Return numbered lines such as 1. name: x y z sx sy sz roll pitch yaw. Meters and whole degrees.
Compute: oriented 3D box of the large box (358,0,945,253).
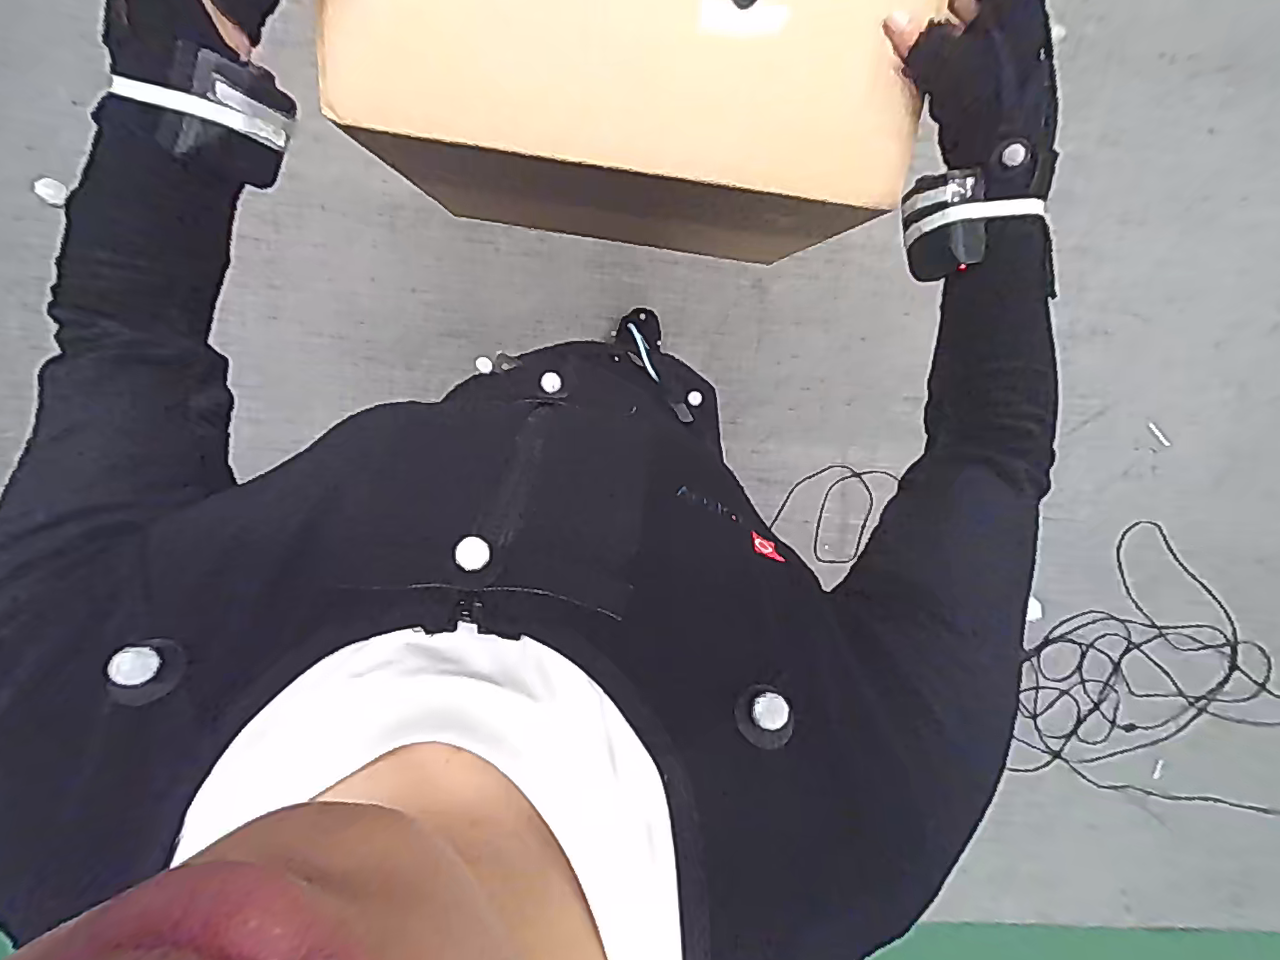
1. large box: 0.008 -0.416 0.496 0.408 0.320 0.320 6 105 -6
